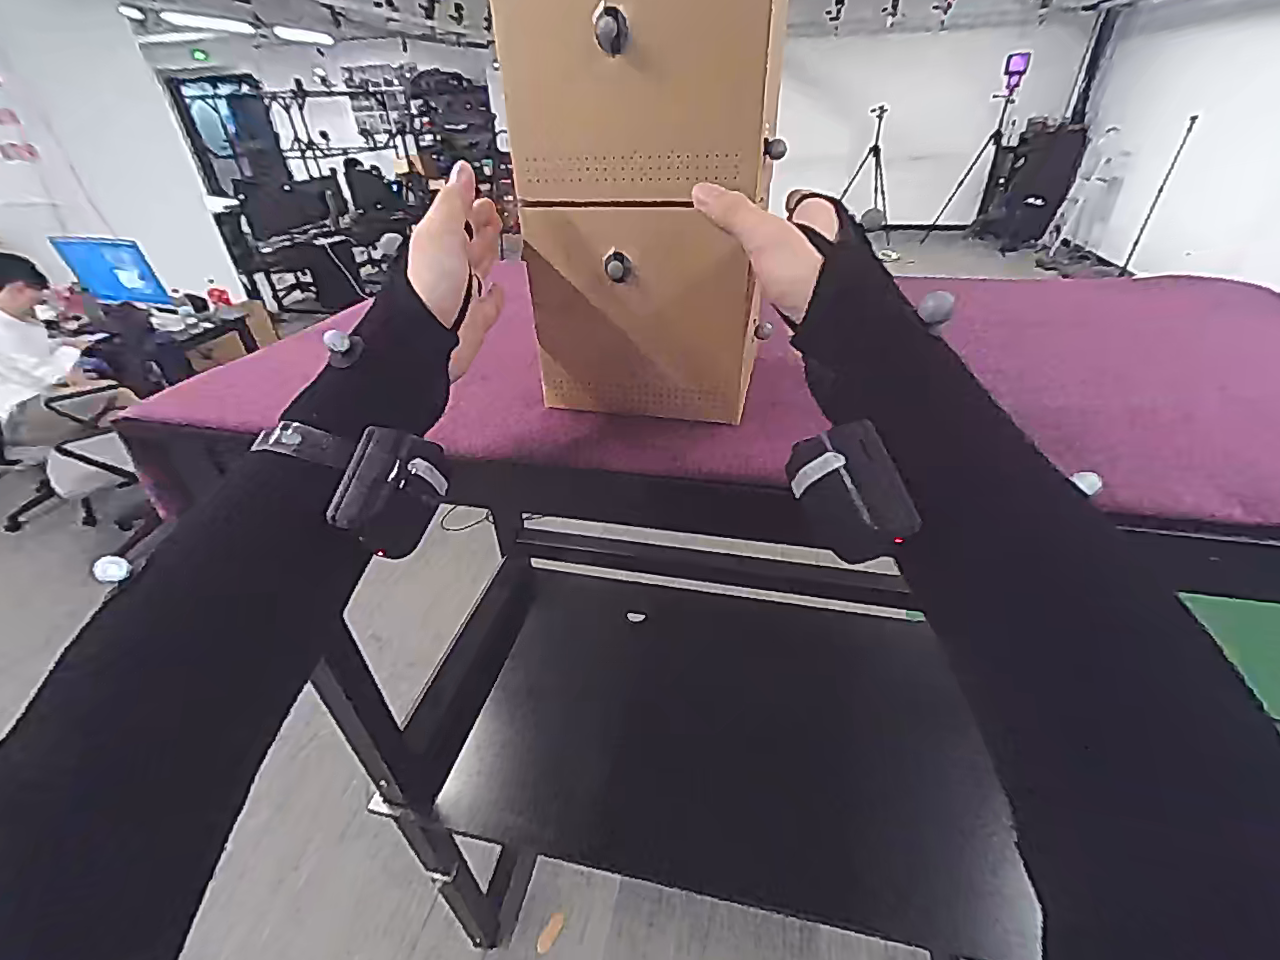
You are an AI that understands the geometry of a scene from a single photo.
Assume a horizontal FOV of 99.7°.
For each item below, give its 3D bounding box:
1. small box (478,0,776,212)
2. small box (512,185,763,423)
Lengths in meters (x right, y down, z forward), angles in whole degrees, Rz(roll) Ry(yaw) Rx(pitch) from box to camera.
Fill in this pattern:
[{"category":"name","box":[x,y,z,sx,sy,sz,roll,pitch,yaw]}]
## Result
[{"category":"small box","box":[0.004,-0.300,0.399,0.179,0.176,0.168,6,34,14]},{"category":"small box","box":[0.011,-0.163,0.491,0.179,0.176,0.168,7,36,14]}]
